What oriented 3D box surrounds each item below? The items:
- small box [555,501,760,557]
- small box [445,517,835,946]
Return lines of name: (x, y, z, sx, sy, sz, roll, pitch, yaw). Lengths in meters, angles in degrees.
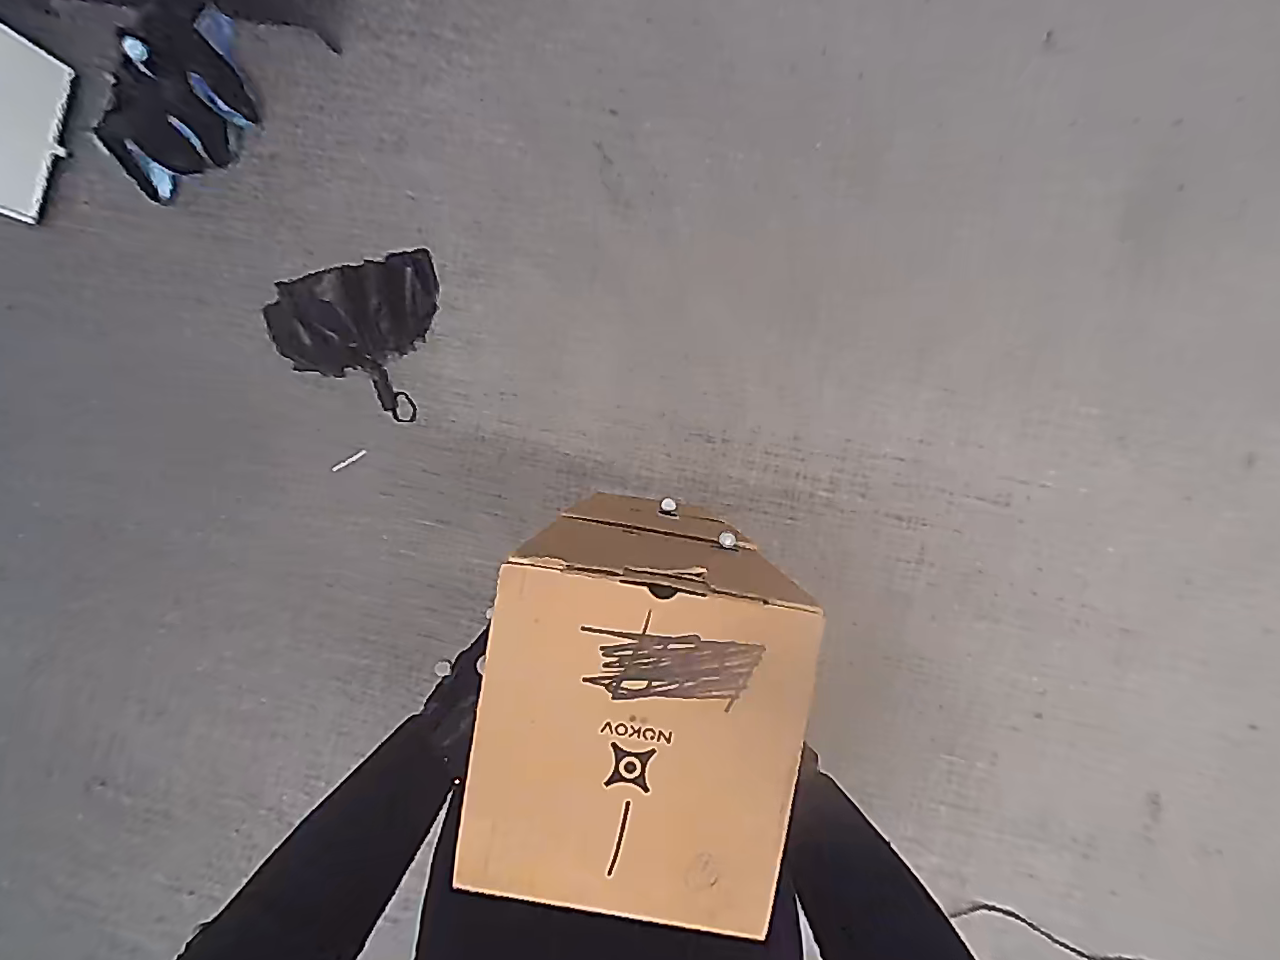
small box: (0.003, 0.119, 0.505, 0.168, 0.176, 0.179, 9, 90, 1)
small box: (0.000, 0.125, 0.341, 0.168, 0.176, 0.179, 10, 92, 1)
